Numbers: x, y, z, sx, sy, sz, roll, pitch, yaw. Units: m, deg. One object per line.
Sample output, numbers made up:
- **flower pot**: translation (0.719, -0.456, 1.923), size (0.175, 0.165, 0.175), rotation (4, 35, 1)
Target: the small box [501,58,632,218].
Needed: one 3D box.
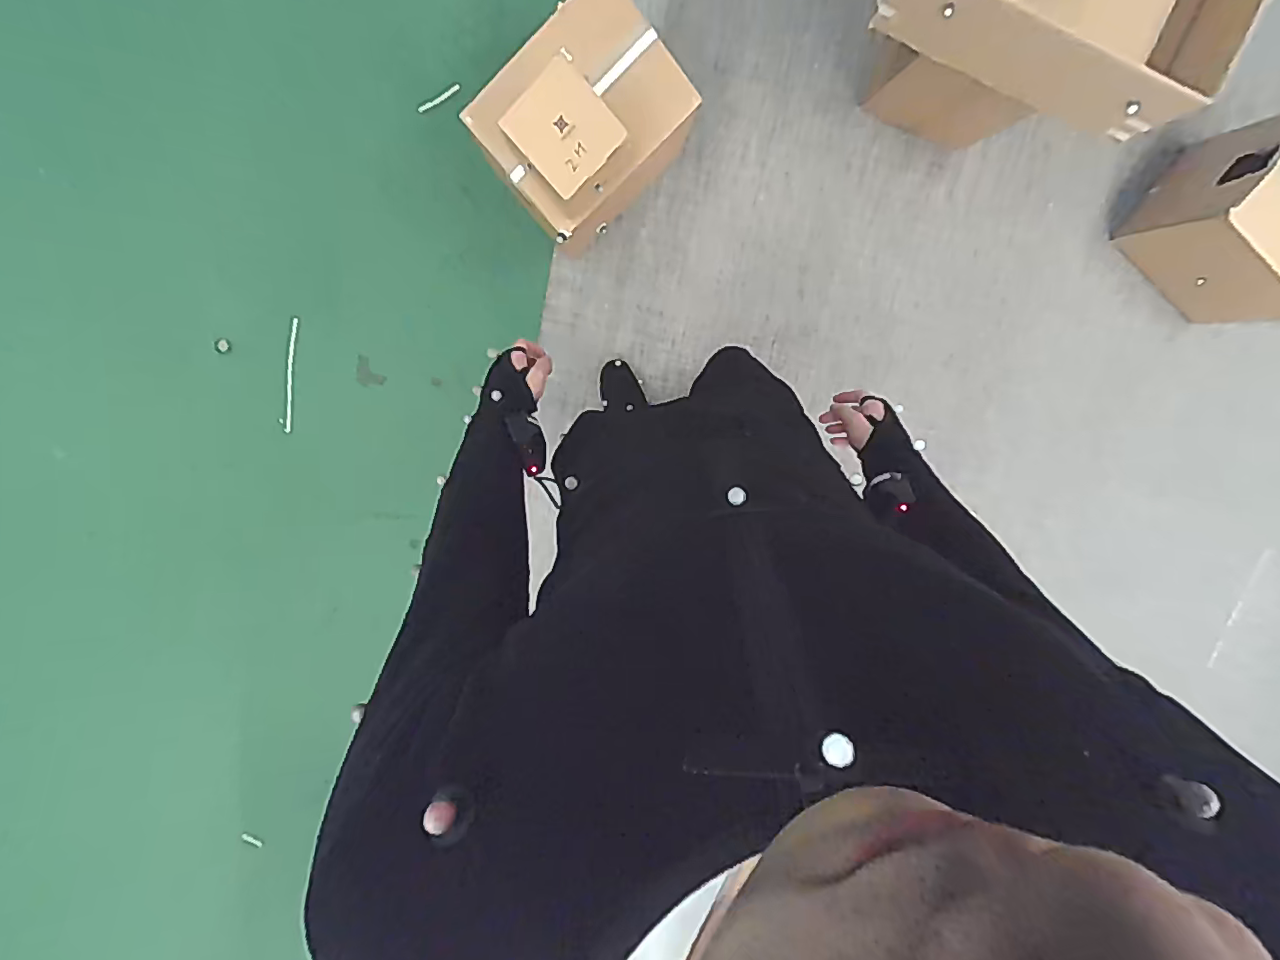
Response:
- **small box**: translation (-0.138, -0.639, 1.040), size (0.168, 0.176, 0.179), rotation (-43, 104, 7)

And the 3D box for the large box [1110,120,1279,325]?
- **large box**: translation (1.599, -0.652, 1.421), size (0.408, 0.320, 0.320), rotation (34, 99, -10)
